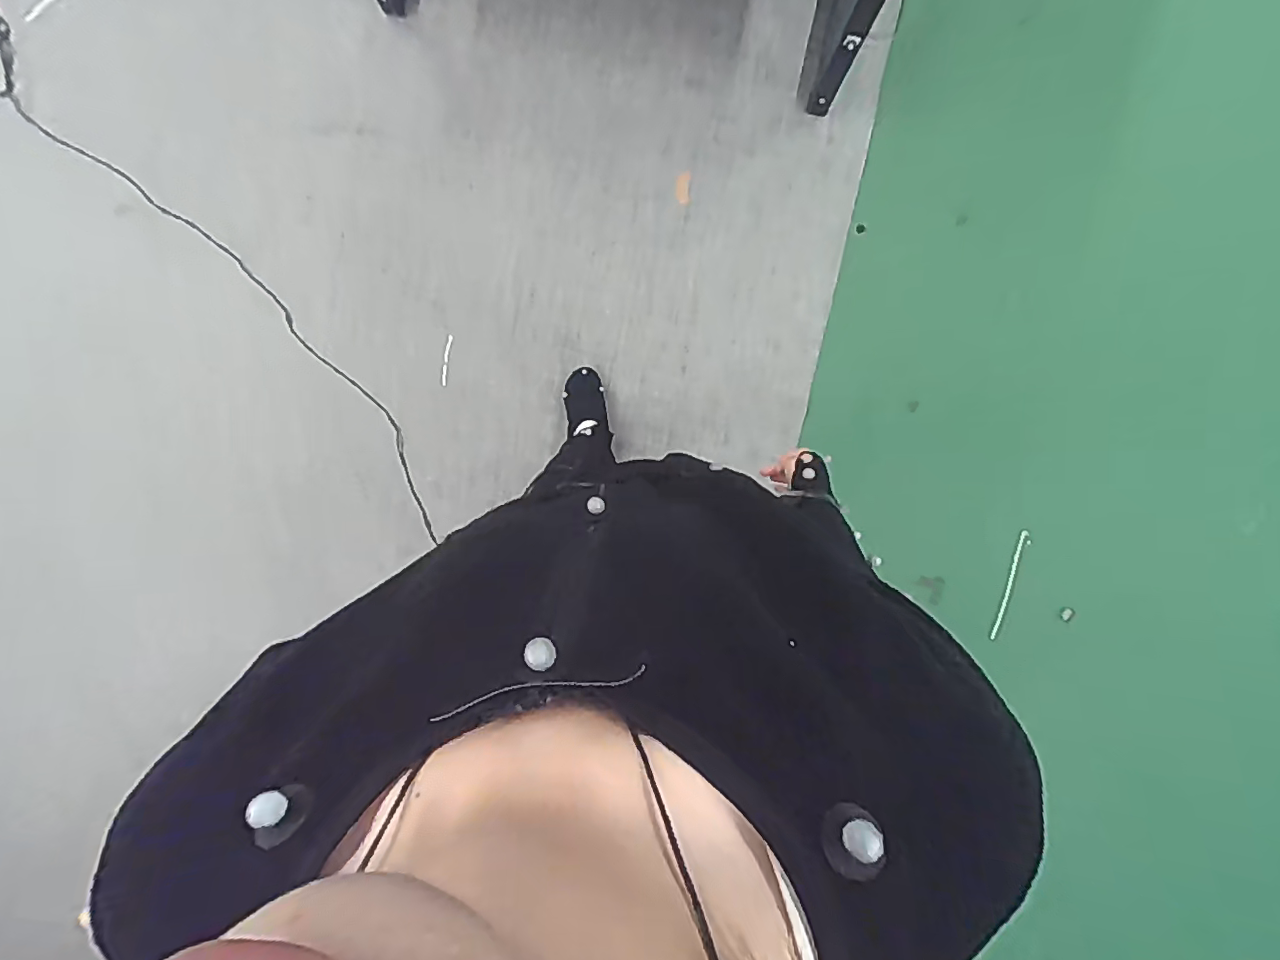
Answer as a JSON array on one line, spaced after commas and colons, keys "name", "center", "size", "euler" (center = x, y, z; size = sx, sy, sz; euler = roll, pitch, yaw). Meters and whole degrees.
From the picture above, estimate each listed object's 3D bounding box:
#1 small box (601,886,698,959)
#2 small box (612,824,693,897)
[{"name": "small box", "center": [0.015, 0.910, 1.018], "size": [0.179, 0.176, 0.168], "euler": [4, 95, 1]}, {"name": "small box", "center": [0.023, 0.890, 1.179], "size": [0.168, 0.176, 0.179], "euler": [3, 95, 1]}]
